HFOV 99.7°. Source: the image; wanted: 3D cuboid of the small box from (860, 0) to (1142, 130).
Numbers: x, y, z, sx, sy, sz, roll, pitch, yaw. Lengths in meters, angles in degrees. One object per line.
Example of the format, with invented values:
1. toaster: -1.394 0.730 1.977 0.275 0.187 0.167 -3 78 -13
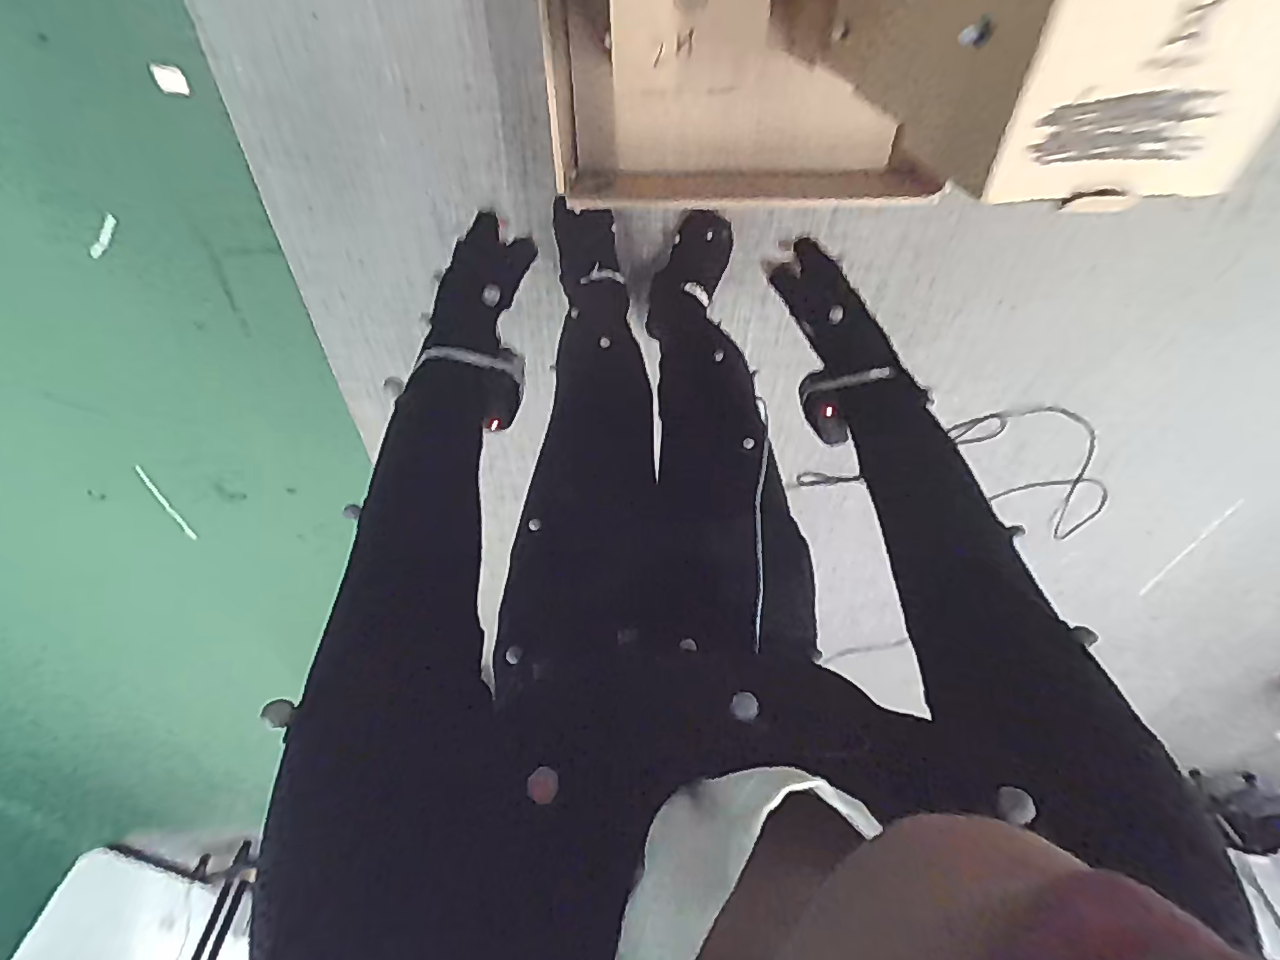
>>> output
1. small box: 0.318 -0.438 0.488 0.168 0.176 0.179 0 134 -1

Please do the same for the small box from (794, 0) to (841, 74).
1. small box: 0.308 -0.669 0.722 0.168 0.176 0.179 -2 133 4

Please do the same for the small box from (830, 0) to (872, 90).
1. small box: 0.321 -0.545 0.590 0.168 0.176 0.179 1 134 0
